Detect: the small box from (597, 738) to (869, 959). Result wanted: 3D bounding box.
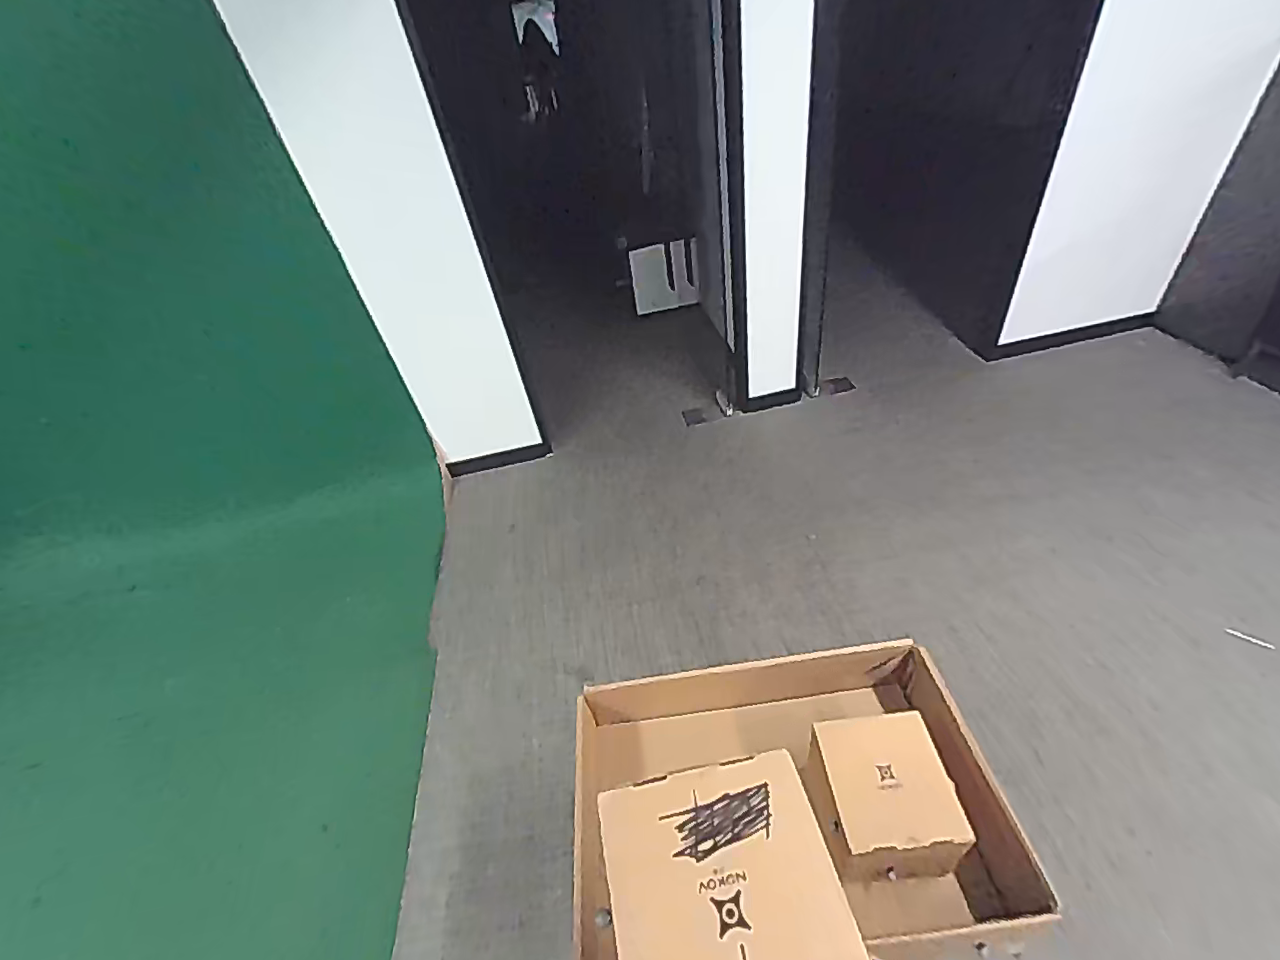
[{"bbox_3d":[0.062,0.350,0.447,0.168,0.176,0.179,-11,44,-7],"label":"small box"}]

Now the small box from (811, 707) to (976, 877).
[{"bbox_3d":[0.367,0.476,0.826,0.168,0.176,0.179,-9,42,4],"label":"small box"}]
